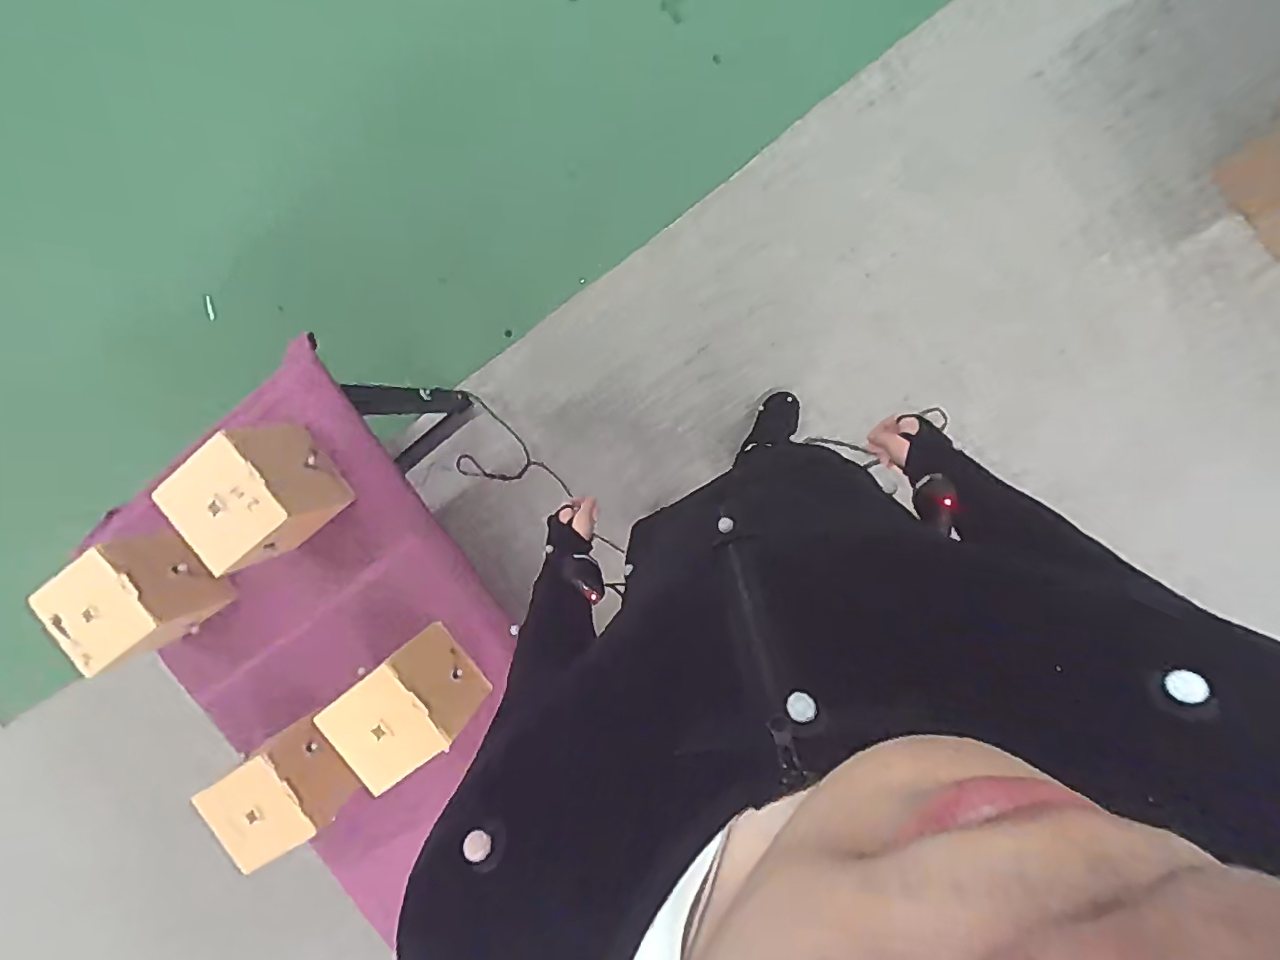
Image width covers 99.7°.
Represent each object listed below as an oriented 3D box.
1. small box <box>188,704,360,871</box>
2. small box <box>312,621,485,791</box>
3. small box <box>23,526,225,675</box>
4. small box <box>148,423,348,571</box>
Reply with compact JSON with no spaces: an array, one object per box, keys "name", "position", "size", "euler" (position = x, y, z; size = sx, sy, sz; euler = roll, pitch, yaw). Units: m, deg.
[{"name":"small box","position":[-0.644,0.546,0.984],"size":[0.179,0.176,0.168],"euler":[-32,92,10]},{"name":"small box","position":[-0.403,0.378,0.933],"size":[0.179,0.176,0.168],"euler":[-38,92,11]},{"name":"small box","position":[-0.894,0.202,0.963],"size":[0.179,0.176,0.168],"euler":[-34,93,7]},{"name":"small box","position":[-0.642,0.020,0.907],"size":[0.179,0.176,0.168],"euler":[-35,94,11]}]
